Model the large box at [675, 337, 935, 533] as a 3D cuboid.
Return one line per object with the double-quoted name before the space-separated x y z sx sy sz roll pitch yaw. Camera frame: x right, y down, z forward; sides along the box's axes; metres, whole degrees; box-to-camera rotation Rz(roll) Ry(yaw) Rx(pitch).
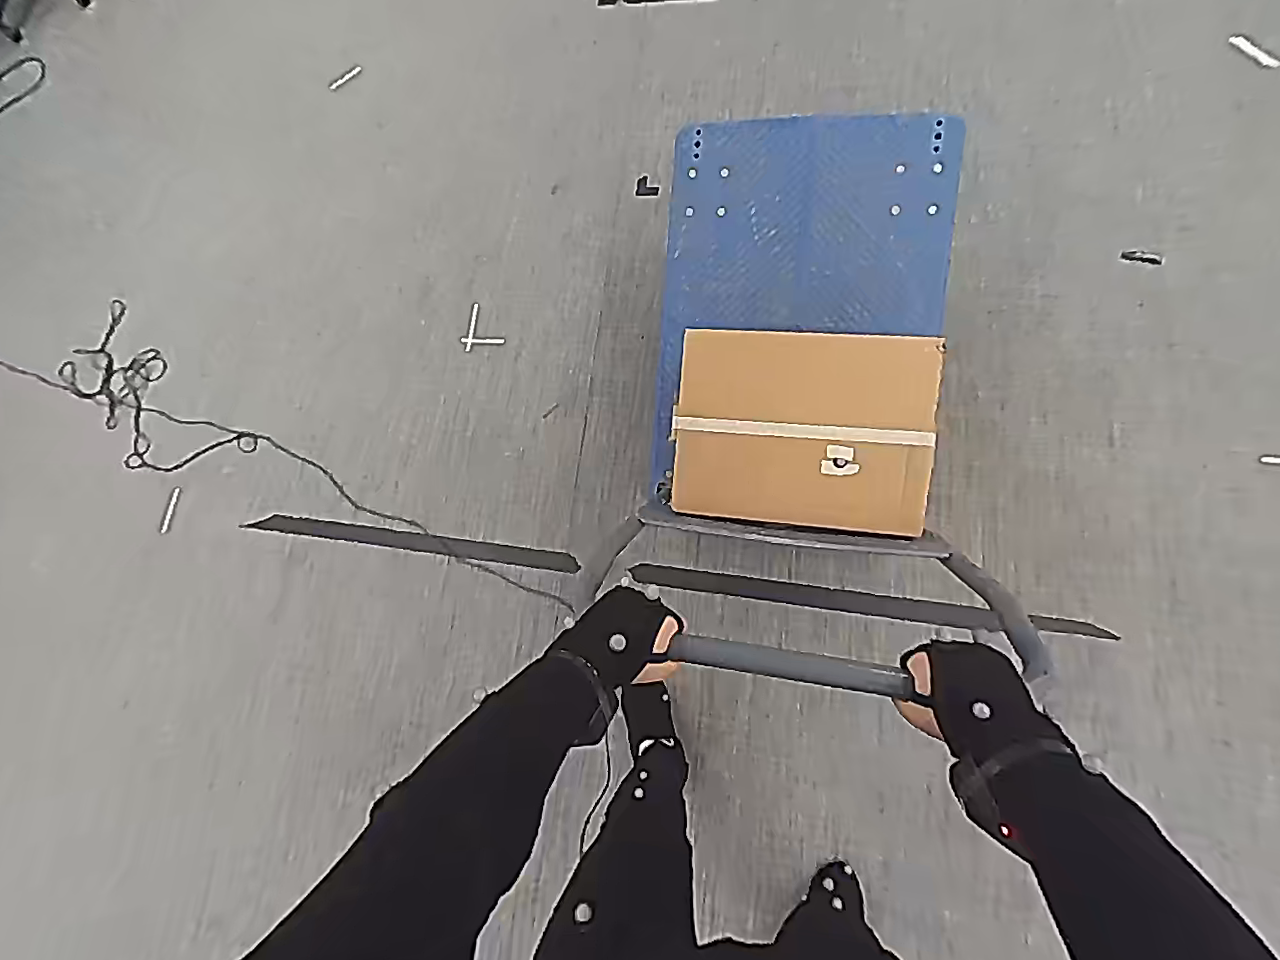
"large box" 0.290 -0.088 1.045 0.408 0.320 0.320 5 96 11
